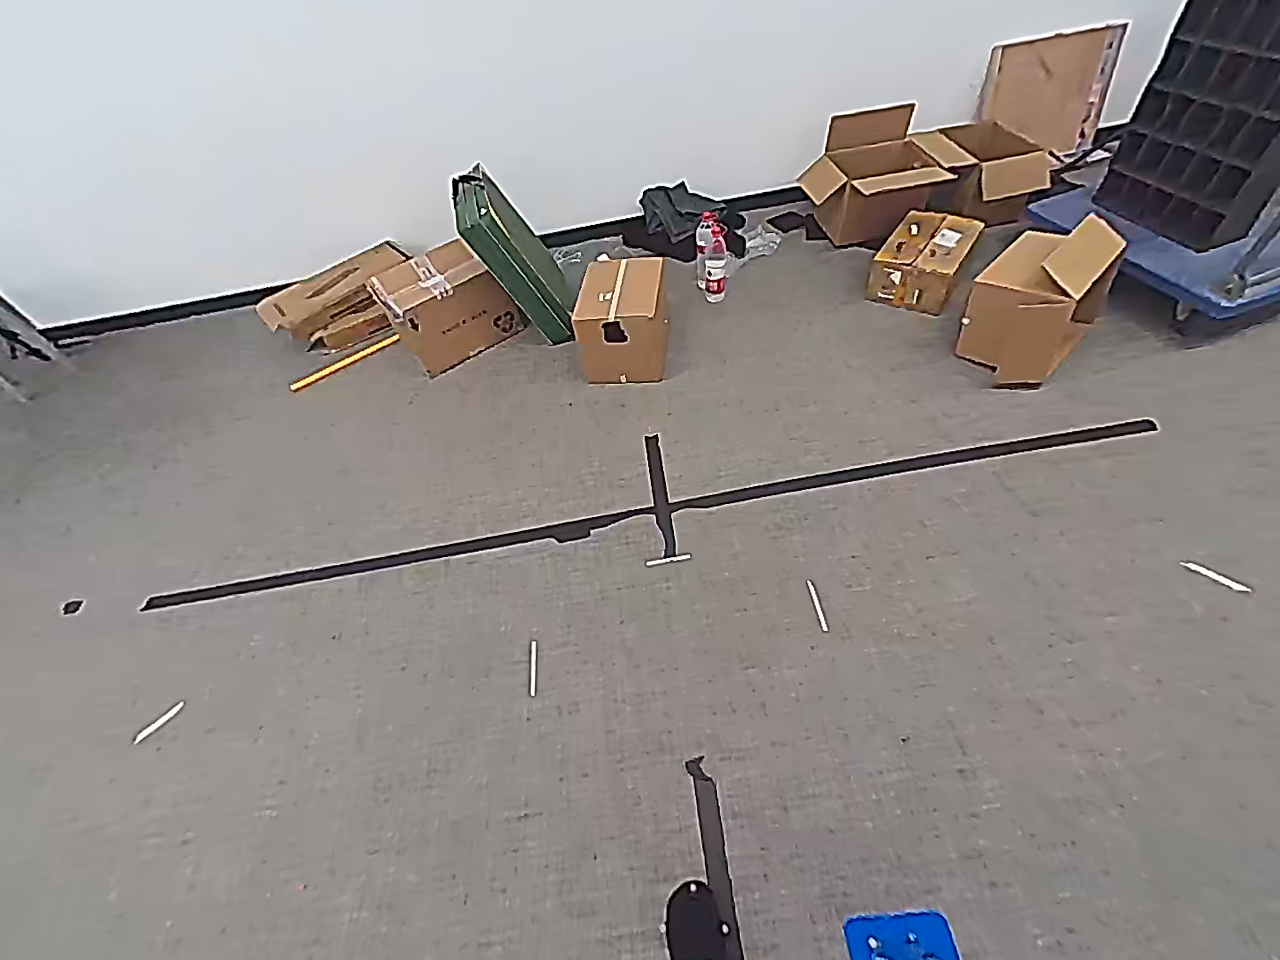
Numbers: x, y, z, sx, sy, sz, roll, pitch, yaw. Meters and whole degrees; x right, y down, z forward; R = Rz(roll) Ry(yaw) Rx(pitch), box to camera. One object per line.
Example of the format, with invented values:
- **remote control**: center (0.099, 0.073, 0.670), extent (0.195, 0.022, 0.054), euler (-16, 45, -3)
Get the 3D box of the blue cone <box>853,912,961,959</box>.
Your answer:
- **blue cone**: center (0.488, 0.823, 0.876), extent (0.192, 0.380, 0.193), euler (-6, 50, 4)
